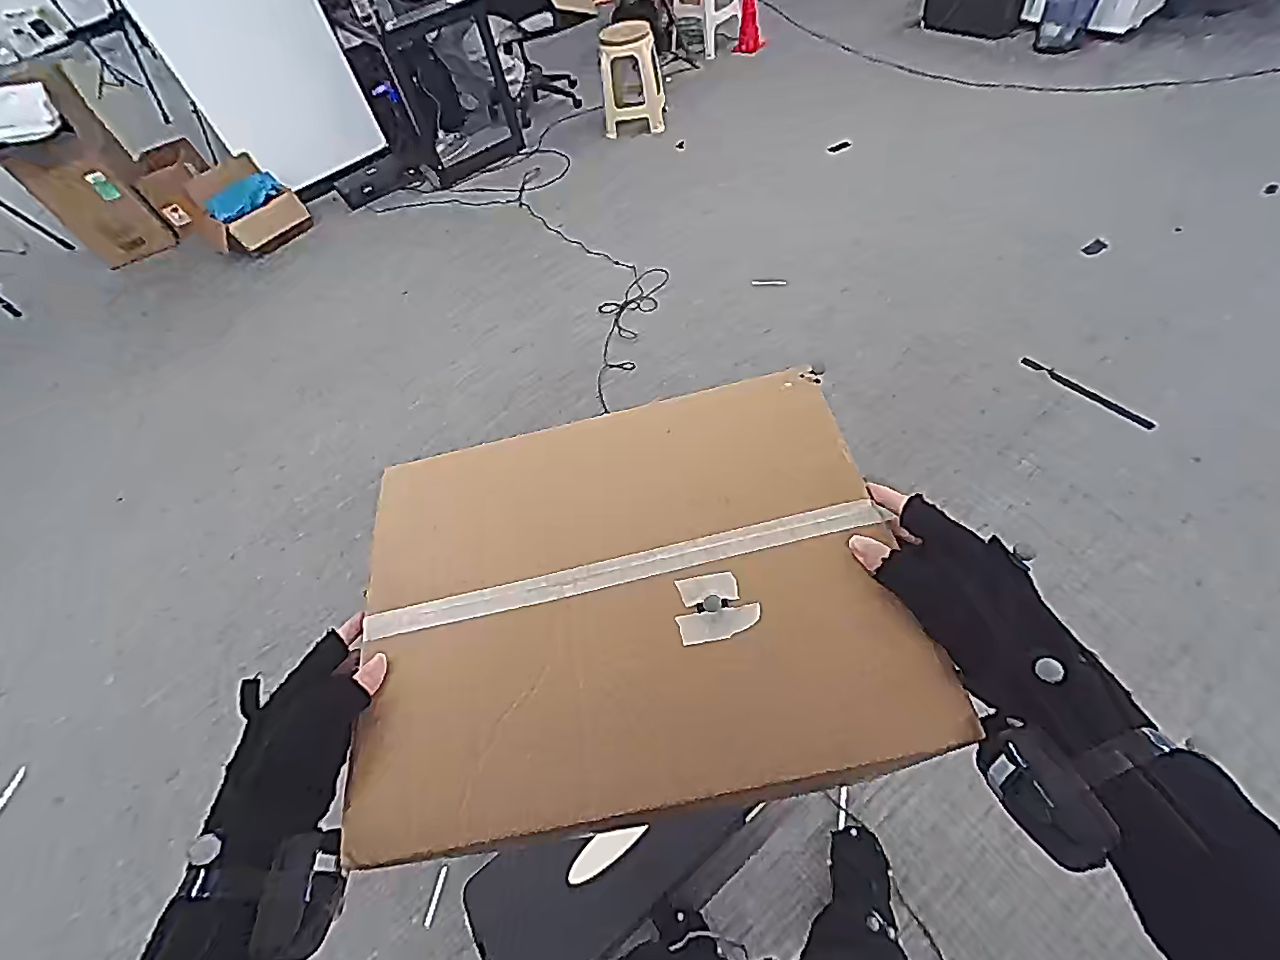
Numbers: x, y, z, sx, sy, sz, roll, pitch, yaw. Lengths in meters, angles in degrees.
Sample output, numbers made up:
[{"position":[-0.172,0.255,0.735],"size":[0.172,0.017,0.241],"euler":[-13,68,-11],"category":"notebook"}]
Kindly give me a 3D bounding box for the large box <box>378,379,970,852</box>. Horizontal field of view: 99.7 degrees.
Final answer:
[{"position":[0.015,0.153,0.553],"size":[0.408,0.320,0.320],"euler":[-13,57,2],"category":"large box"}]
